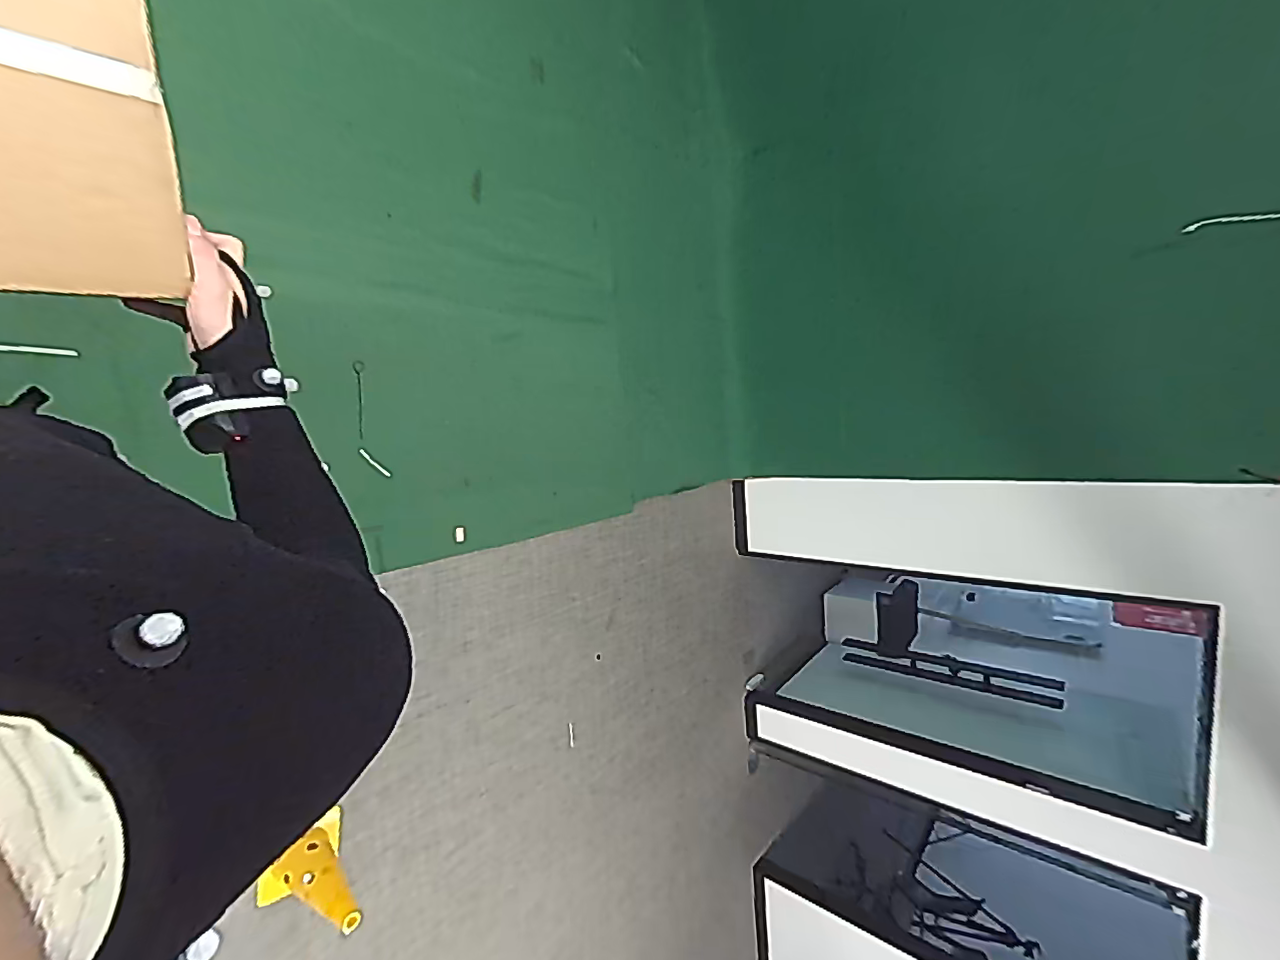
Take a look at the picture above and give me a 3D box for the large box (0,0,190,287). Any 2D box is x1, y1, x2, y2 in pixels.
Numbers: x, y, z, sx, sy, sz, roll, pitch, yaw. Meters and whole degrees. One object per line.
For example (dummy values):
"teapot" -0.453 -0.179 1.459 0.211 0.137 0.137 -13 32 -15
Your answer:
"large box" -0.628 -0.311 0.376 0.408 0.320 0.320 -15 116 -47
